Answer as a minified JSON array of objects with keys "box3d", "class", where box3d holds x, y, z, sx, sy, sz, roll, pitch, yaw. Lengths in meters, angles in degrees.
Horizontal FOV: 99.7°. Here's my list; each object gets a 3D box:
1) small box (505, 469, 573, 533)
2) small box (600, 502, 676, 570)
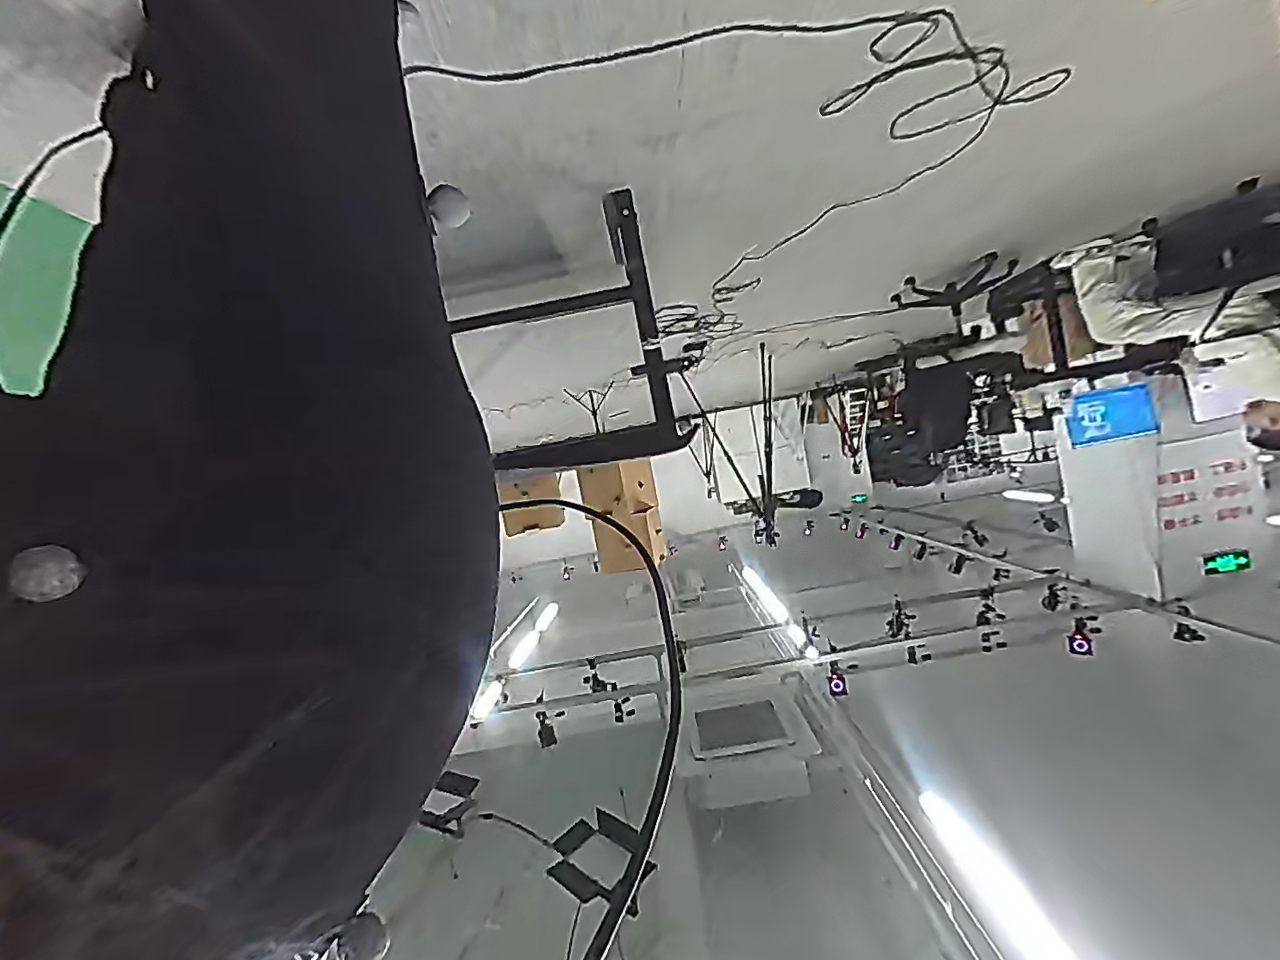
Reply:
[{"box3d":[-0.313,0.059,1.700,0.168,0.176,0.179,-12,-177,-1],"class":"small box"},{"box3d":[-0.003,0.166,1.670,0.179,0.176,0.168,-12,-178,16],"class":"small box"}]
